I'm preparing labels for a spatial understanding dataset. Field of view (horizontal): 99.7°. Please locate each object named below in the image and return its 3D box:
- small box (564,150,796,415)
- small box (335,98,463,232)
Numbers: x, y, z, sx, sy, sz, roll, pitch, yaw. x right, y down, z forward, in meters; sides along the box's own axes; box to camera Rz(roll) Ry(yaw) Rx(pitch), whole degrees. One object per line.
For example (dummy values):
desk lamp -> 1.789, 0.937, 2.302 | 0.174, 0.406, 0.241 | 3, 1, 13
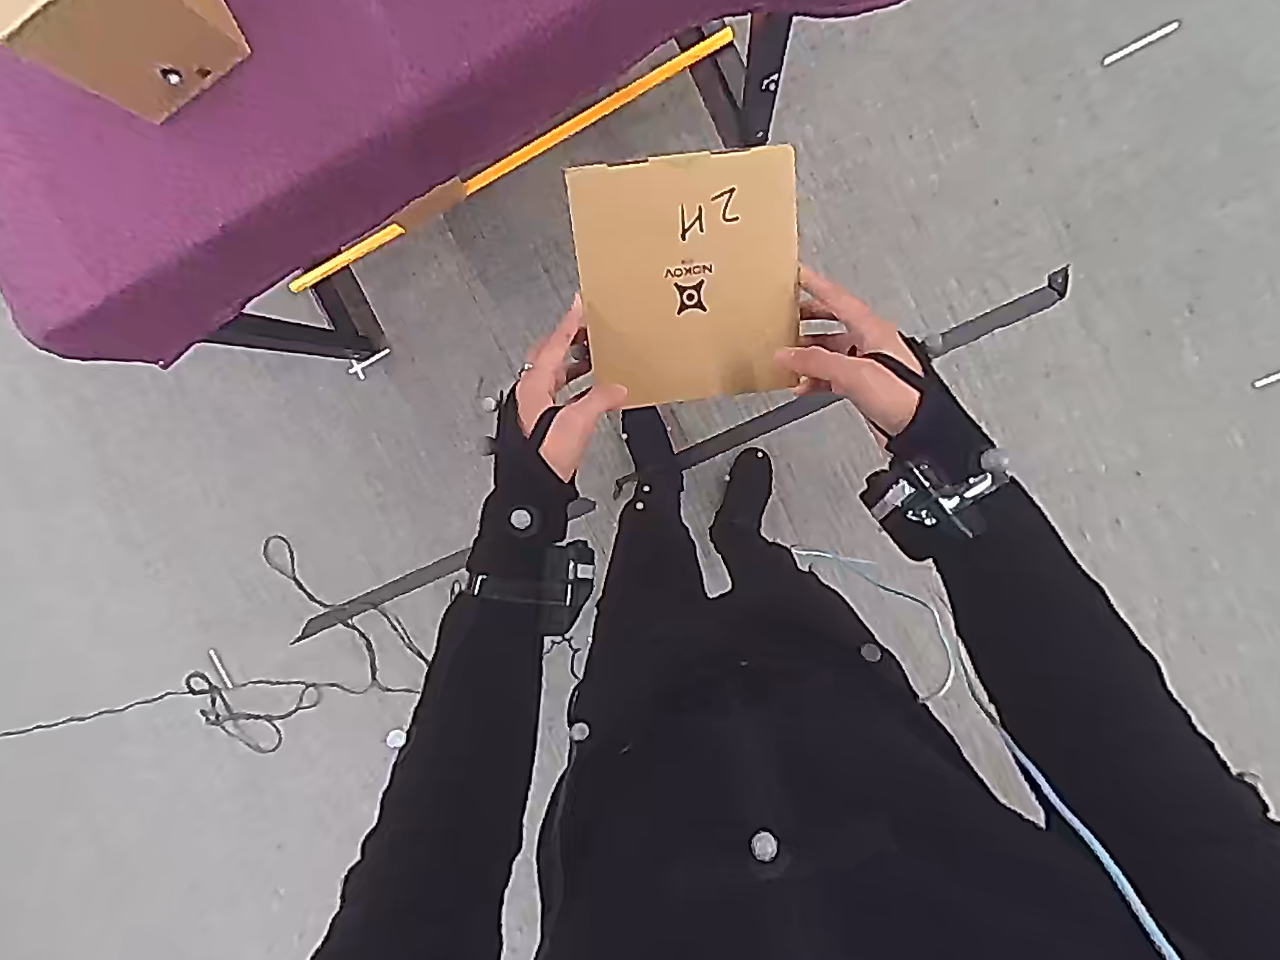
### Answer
small box -> 0.032, -0.166, 0.482 | 0.168, 0.176, 0.179 | -8, 107, -1
small box -> -0.523, -0.690, 1.207 | 0.179, 0.176, 0.168 | -27, 94, 10
